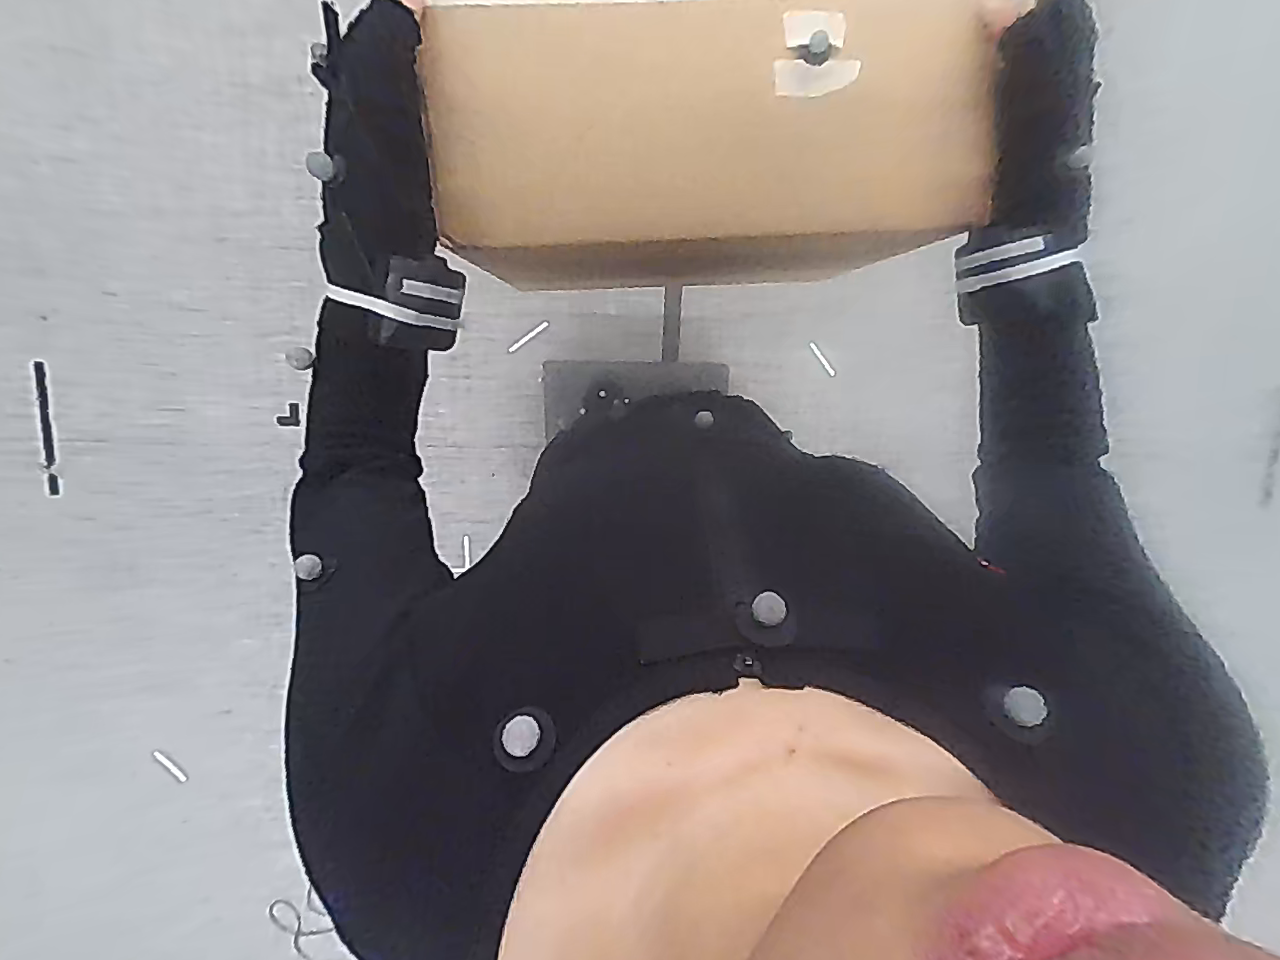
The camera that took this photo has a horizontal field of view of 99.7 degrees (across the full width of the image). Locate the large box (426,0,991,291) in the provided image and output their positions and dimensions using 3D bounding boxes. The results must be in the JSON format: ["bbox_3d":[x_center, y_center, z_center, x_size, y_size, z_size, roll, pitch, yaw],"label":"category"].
[{"bbox_3d":[0.041,-0.371,0.519,0.408,0.320,0.320,-4,104,-2],"label":"large box"}]
